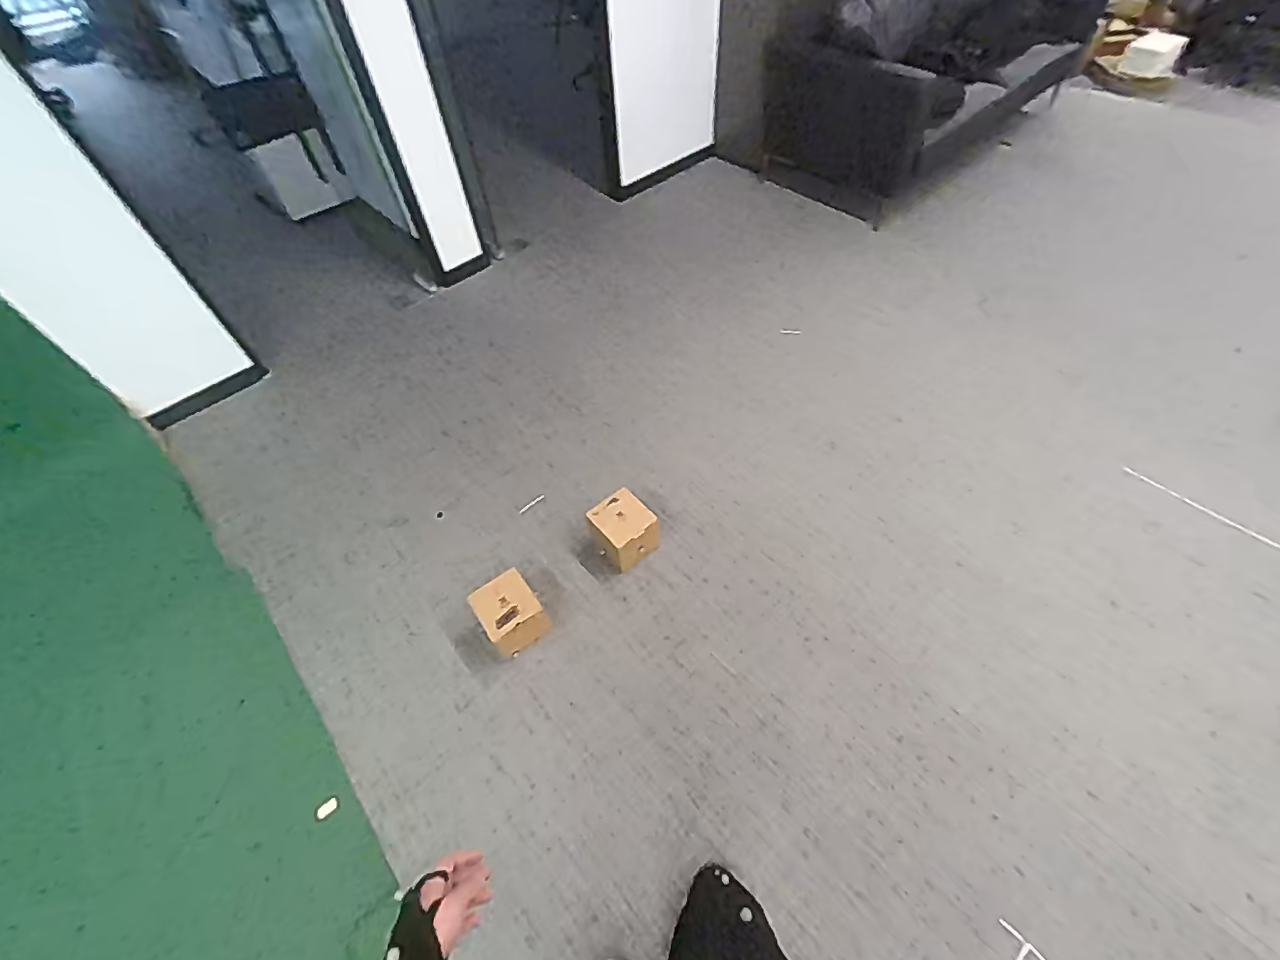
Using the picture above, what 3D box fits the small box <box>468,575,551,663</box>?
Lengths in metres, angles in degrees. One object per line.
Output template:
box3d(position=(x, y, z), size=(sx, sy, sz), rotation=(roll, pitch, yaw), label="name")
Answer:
box3d(position=(-0.387, 0.428, 1.636), size=(0.168, 0.176, 0.179), rotation=(-32, 57, -20), label="small box")

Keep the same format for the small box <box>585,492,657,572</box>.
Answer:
box3d(position=(-0.057, 0.181, 1.781), size=(0.168, 0.176, 0.179), rotation=(-35, 59, -21), label="small box")
